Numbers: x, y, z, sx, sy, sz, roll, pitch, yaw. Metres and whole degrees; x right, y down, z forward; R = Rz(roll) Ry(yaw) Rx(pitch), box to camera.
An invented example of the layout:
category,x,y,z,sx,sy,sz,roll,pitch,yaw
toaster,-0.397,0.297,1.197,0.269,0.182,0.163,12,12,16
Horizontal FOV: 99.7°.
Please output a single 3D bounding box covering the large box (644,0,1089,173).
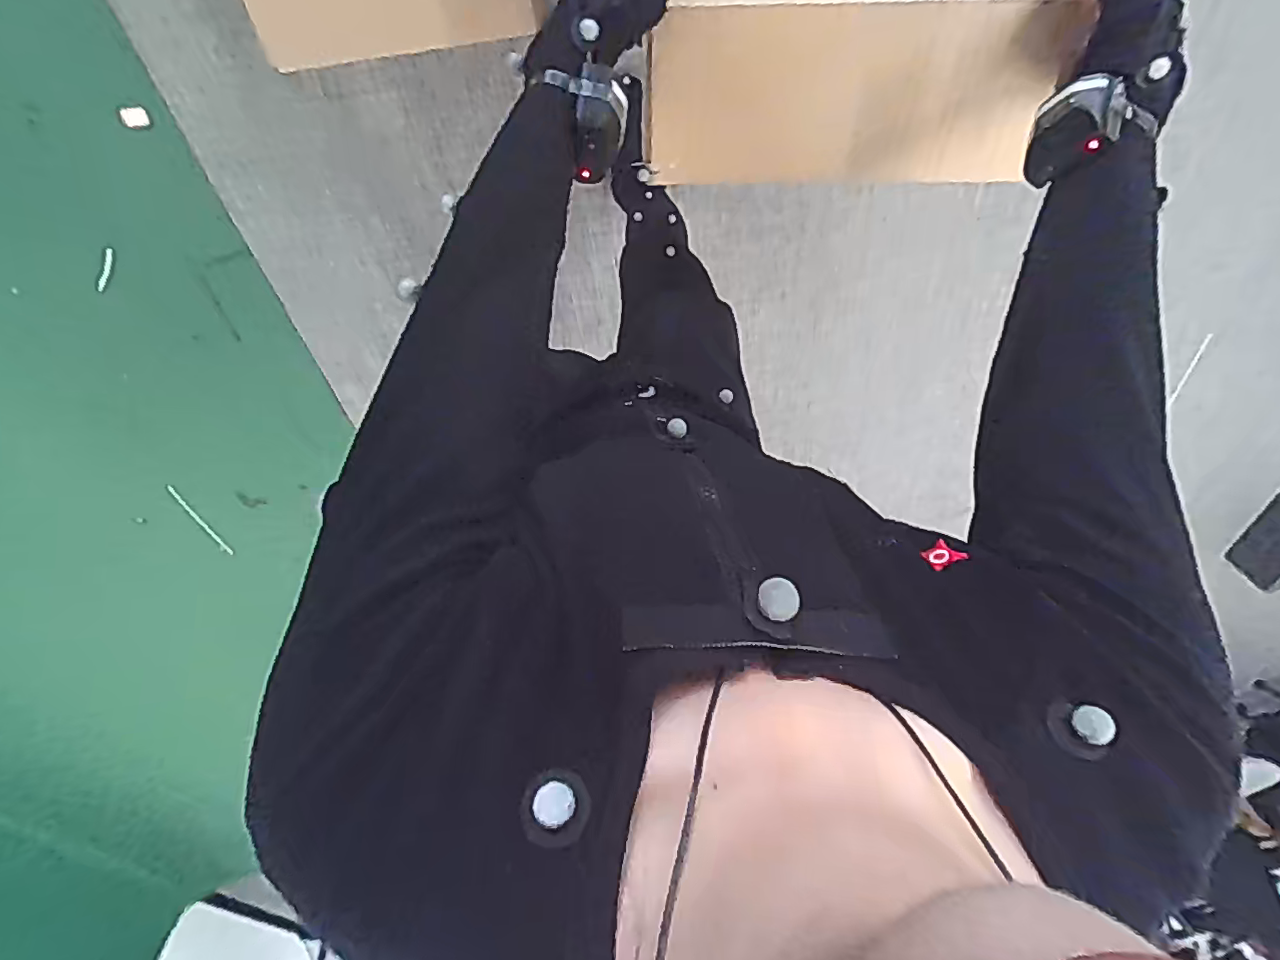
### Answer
category,x,y,z,sx,sy,sz,roll,pitch,yaw
large box,0.208,-0.548,0.578,0.408,0.320,0.320,0,134,2
